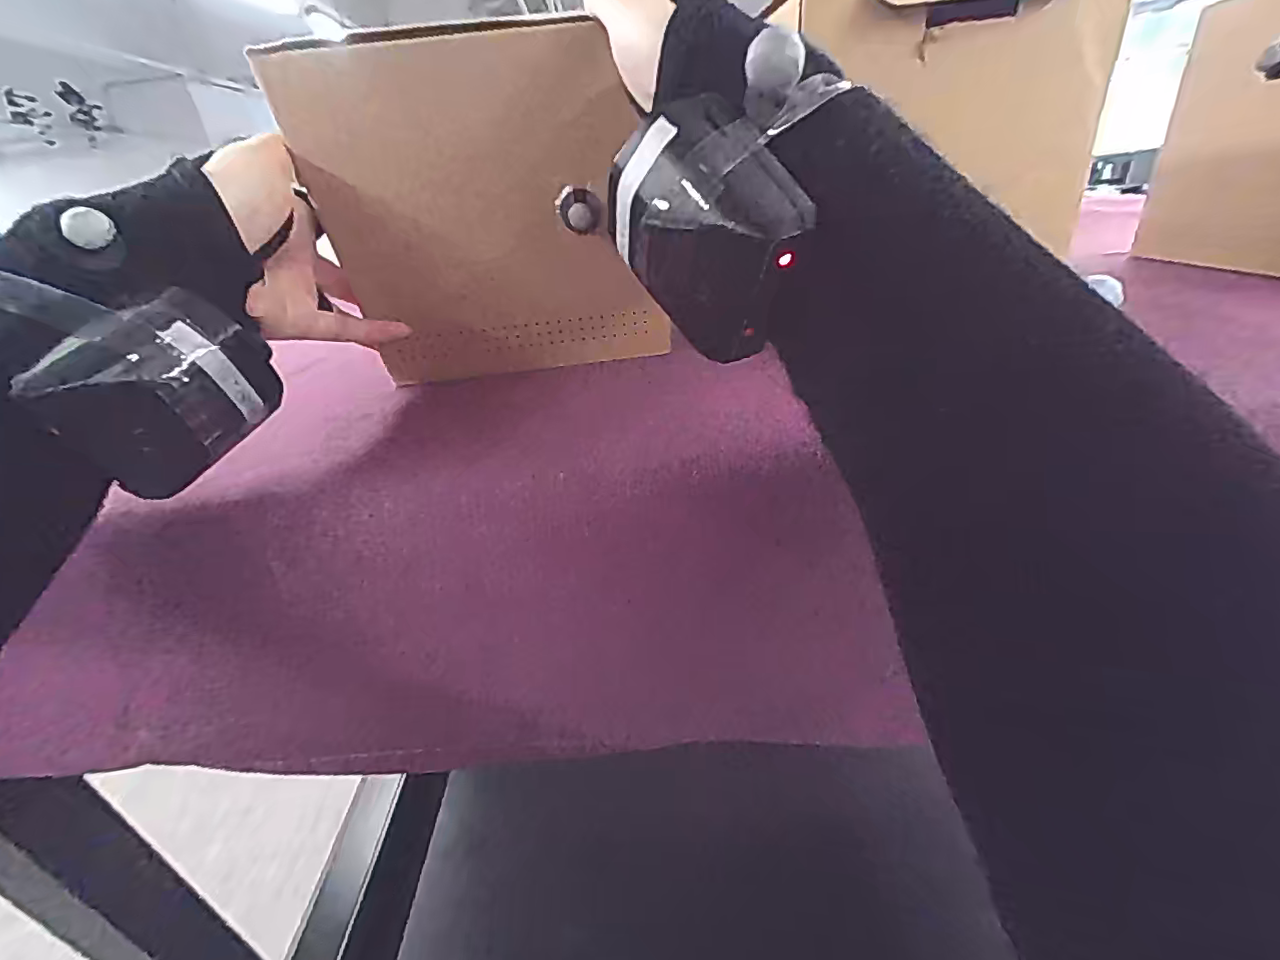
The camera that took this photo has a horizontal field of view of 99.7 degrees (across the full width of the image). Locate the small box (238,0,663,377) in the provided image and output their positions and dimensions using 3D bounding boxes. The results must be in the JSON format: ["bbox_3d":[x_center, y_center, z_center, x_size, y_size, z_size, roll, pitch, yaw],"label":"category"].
[{"bbox_3d":[-0.080,-0.181,0.333,0.179,0.176,0.168,-7,40,-1],"label":"small box"}]

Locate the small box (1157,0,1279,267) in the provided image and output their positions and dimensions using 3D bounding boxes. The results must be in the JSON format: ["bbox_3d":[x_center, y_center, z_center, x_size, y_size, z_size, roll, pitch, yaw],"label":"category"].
[{"bbox_3d":[0.480,-0.224,0.323,0.168,0.176,0.179,-5,28,5],"label":"small box"}]

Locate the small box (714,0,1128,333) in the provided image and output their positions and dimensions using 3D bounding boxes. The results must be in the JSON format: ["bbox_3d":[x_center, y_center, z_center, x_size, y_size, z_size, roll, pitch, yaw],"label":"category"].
[{"bbox_3d":[0.149,-0.196,0.345,0.168,0.176,0.179,-8,28,-4],"label":"small box"}]
